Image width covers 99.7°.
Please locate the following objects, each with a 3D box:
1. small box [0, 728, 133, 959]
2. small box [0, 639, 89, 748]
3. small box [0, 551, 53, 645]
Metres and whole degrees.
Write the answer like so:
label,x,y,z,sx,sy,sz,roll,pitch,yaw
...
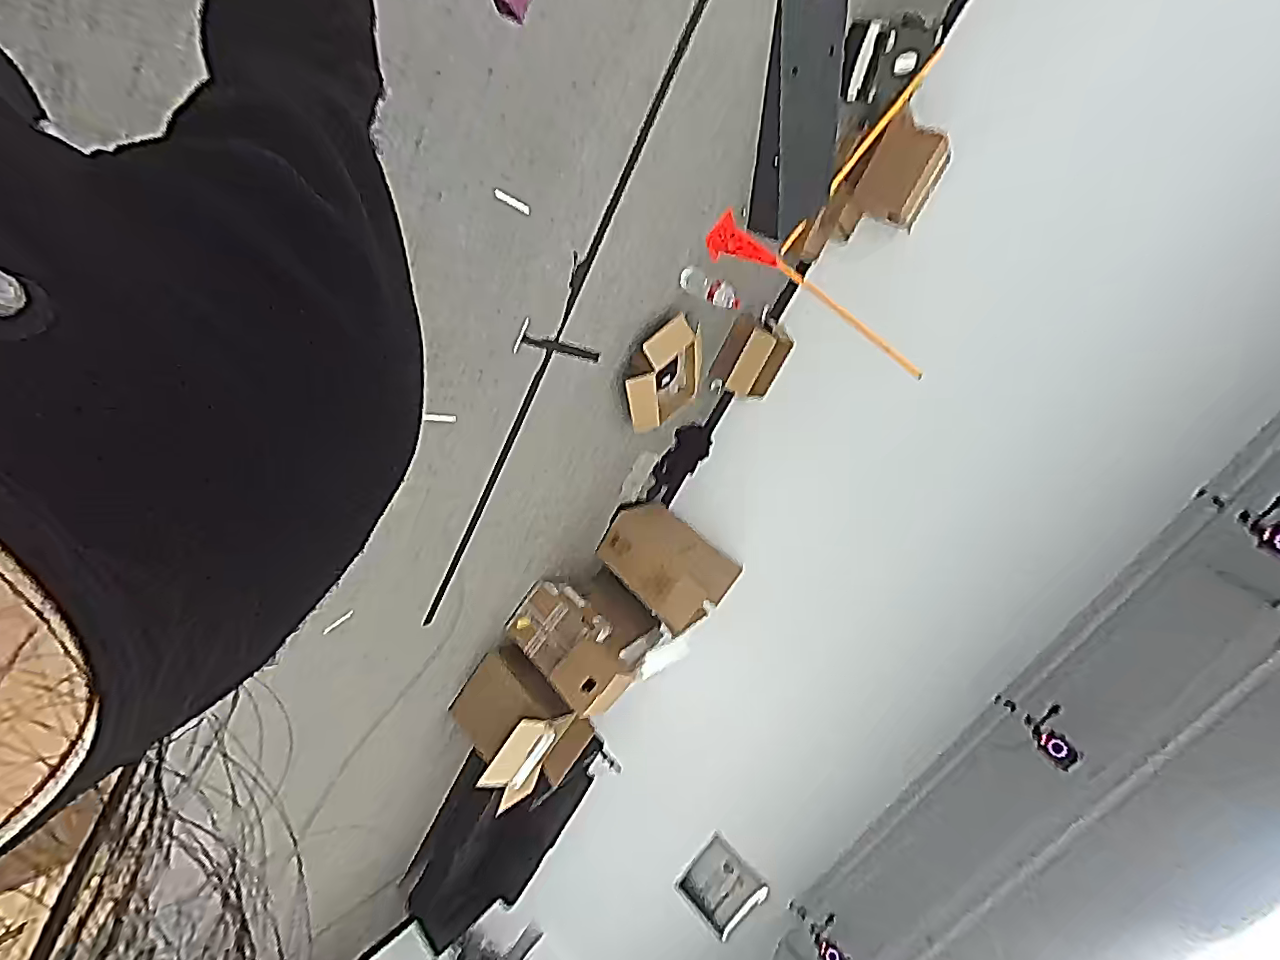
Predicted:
label,x,y,z,sx,sy,sz,roll,pitch,yaw
small box,-0.672,0.402,0.559,0.168,0.176,0.179,-7,130,-59
small box,-0.787,0.308,0.625,0.168,0.176,0.179,-6,130,-59
small box,-0.904,0.217,0.691,0.168,0.176,0.179,-4,129,-60
